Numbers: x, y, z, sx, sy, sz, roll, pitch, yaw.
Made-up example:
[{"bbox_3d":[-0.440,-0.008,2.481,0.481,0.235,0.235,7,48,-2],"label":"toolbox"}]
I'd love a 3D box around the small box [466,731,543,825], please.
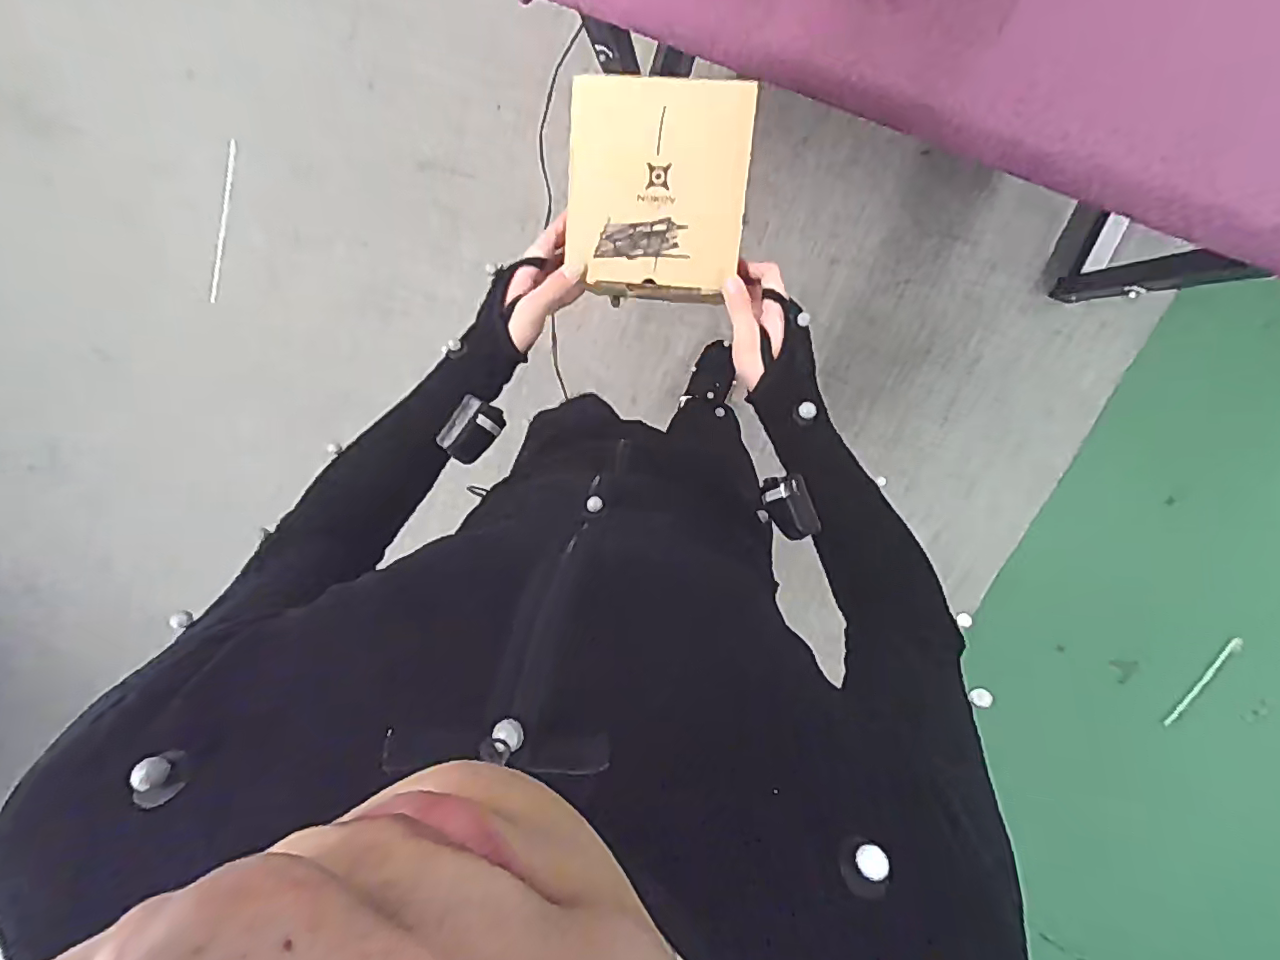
[{"bbox_3d":[-0.437,0.969,1.769,0.168,0.176,0.179,26,105,0],"label":"small box"}]

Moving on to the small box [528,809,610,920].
[{"bbox_3d":[-0.204,1.137,1.610,0.168,0.176,0.179,27,106,1],"label":"small box"}]

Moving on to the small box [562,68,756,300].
[{"bbox_3d":[0.021,-0.288,0.563,0.168,0.176,0.179,5,104,4],"label":"small box"}]
